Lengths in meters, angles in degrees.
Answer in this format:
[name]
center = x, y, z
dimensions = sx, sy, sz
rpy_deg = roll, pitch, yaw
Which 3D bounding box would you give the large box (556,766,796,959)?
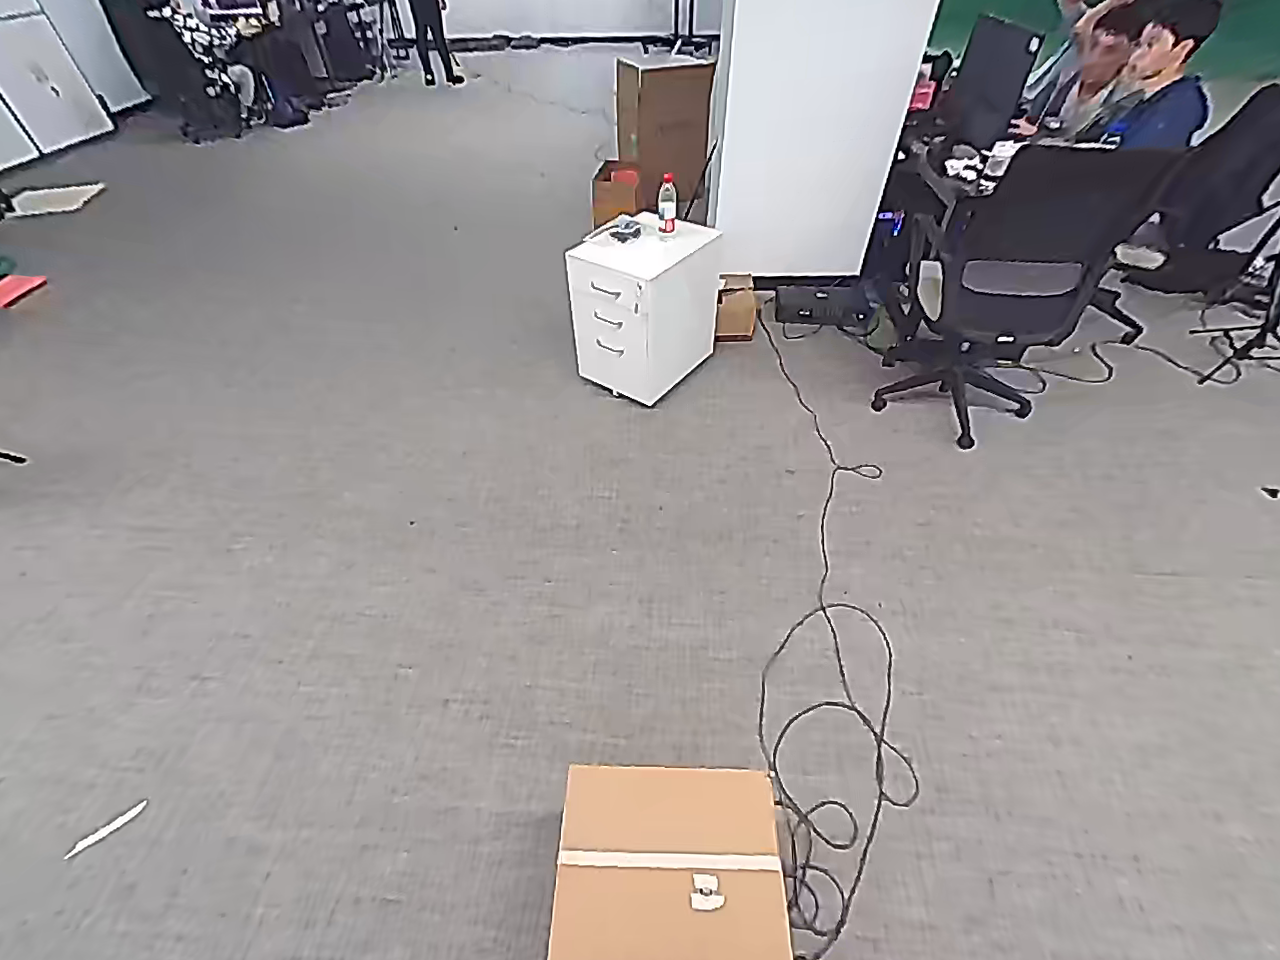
[large box]
center = 0.063, 0.797, 1.094
dimensions = 0.408, 0.320, 0.320
rpy_deg = 1, 46, 2
